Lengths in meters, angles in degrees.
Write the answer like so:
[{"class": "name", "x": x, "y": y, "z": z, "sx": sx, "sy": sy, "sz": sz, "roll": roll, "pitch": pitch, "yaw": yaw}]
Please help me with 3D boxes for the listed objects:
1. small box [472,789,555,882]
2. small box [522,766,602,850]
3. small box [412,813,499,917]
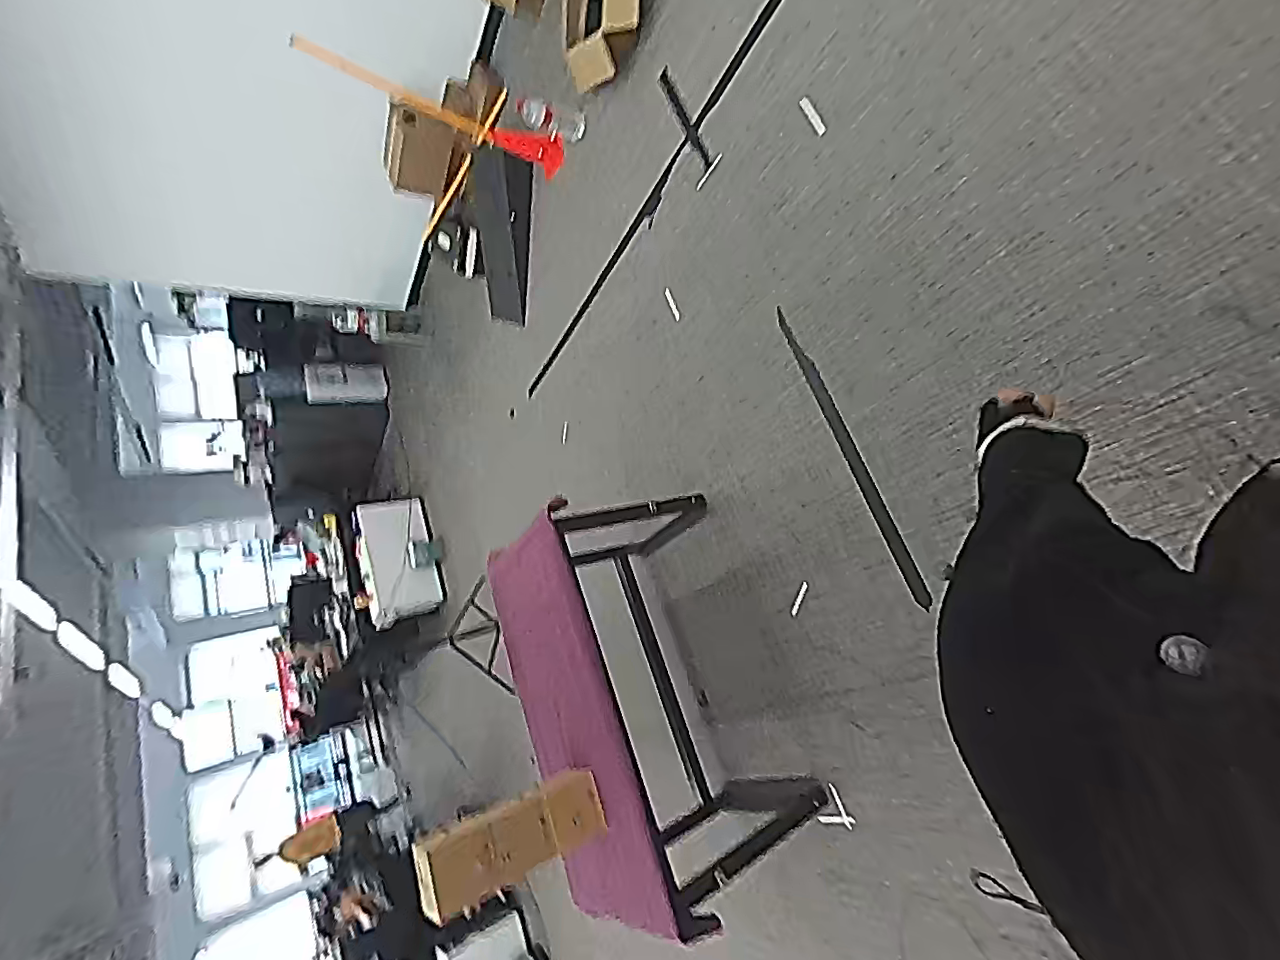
[{"class": "small box", "x": -0.366, "y": 1.010, "z": 1.554, "sx": 0.179, "sy": 0.176, "sz": 0.168, "roll": -40, "pitch": 65, "yaw": 49}, {"class": "small box", "x": -0.233, "y": 0.991, "z": 1.647, "sx": 0.179, "sy": 0.176, "sz": 0.168, "roll": -39, "pitch": 65, "yaw": 49}, {"class": "small box", "x": -0.497, "y": 1.022, "z": 1.454, "sx": 0.179, "sy": 0.176, "sz": 0.168, "roll": -38, "pitch": 66, "yaw": 48}]
